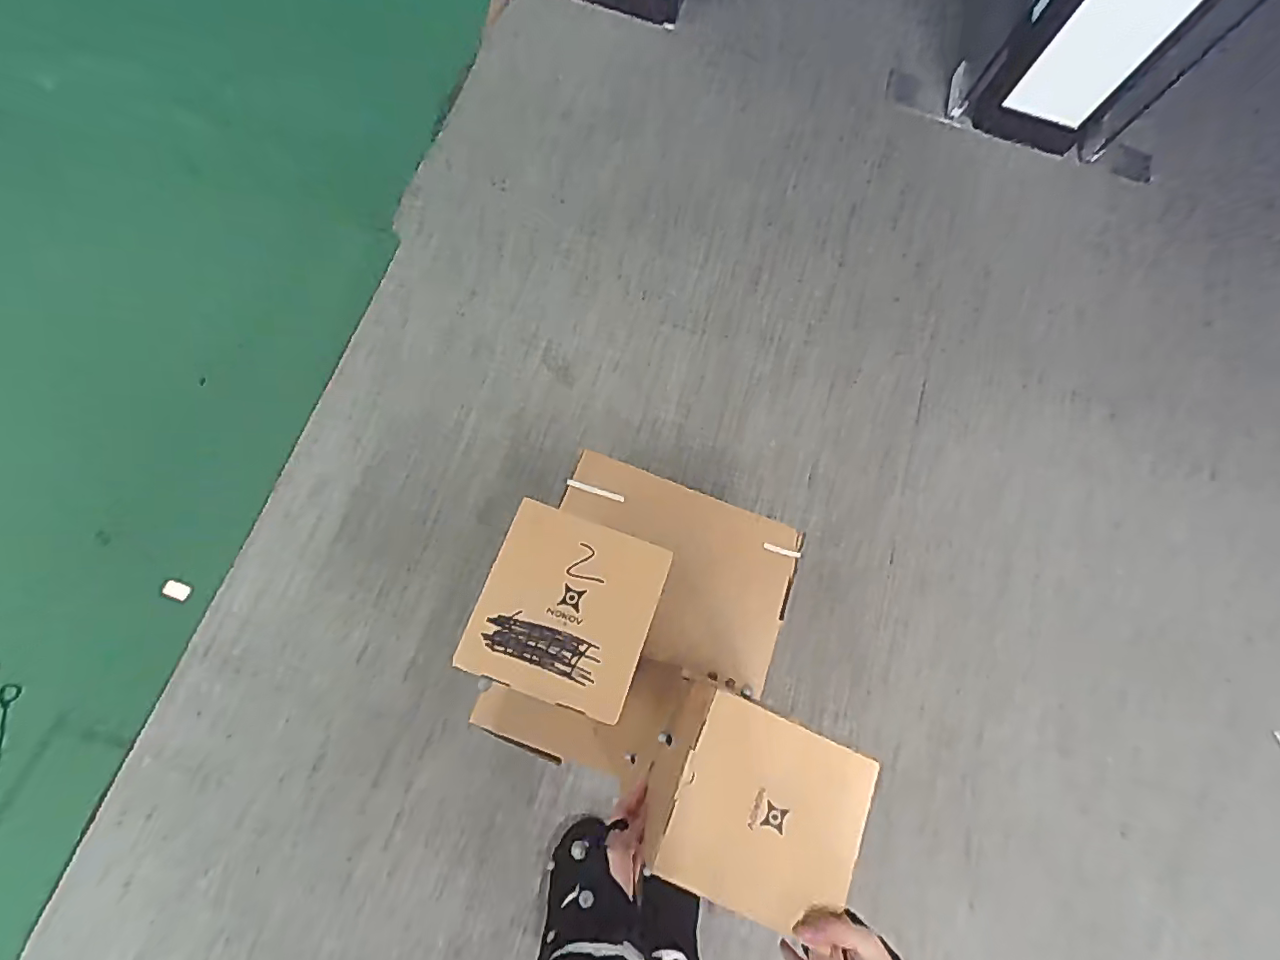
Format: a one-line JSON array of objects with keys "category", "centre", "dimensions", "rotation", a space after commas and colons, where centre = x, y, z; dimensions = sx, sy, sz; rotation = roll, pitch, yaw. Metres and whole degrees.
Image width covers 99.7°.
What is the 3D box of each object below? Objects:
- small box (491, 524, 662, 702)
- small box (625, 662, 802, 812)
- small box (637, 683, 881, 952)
[{"category": "small box", "centre": [-0.086, 0.187, 0.757], "dimensions": [0.168, 0.176, 0.179], "rotation": [23, 72, 2]}, {"category": "small box", "centre": [0.087, 0.361, 0.725], "dimensions": [0.168, 0.176, 0.179], "rotation": [24, 72, 0]}, {"category": "small box", "centre": [0.111, 0.325, 0.566], "dimensions": [0.179, 0.176, 0.168], "rotation": [24, 72, 1]}]
